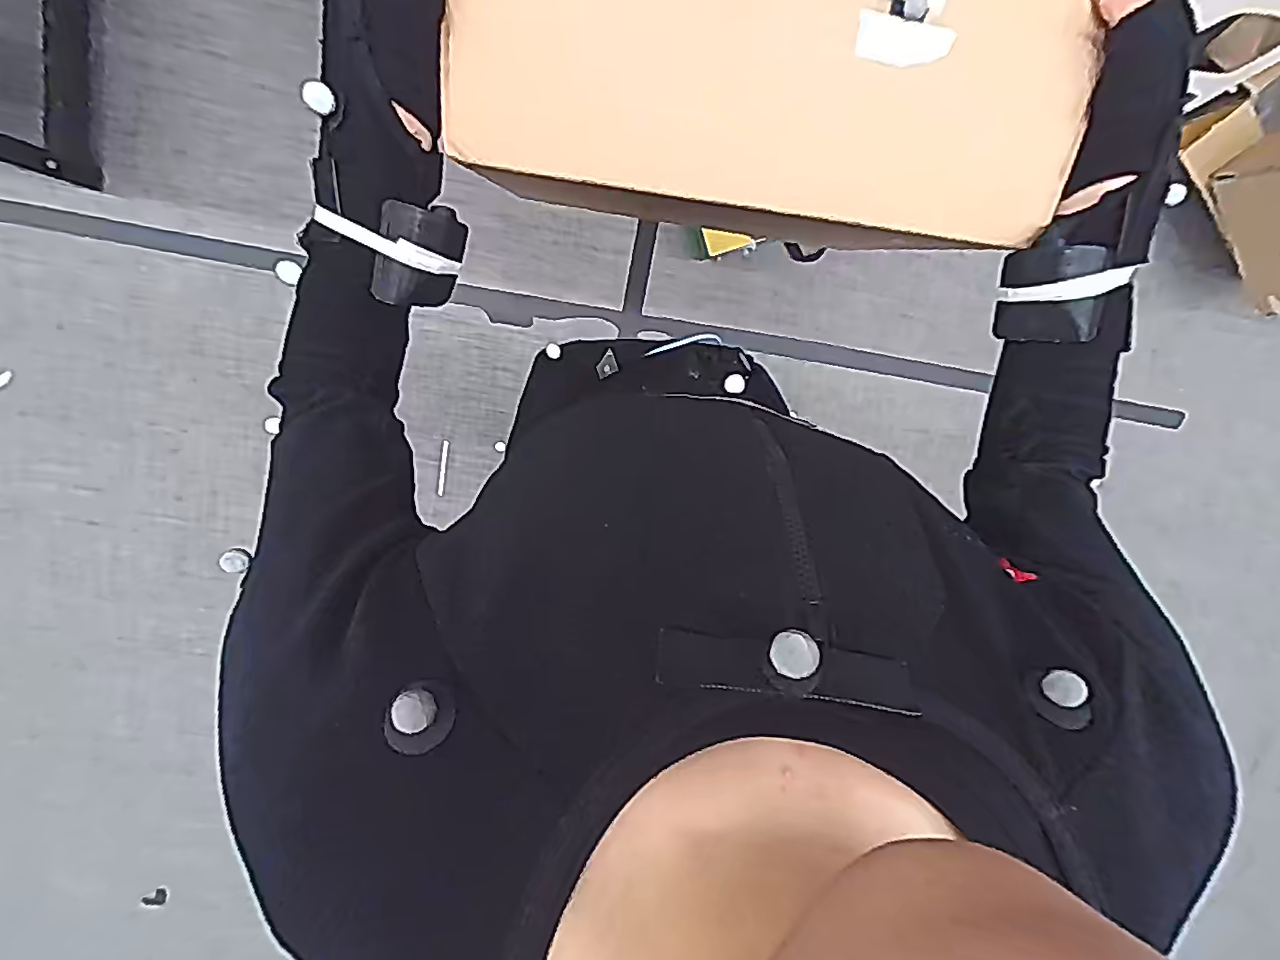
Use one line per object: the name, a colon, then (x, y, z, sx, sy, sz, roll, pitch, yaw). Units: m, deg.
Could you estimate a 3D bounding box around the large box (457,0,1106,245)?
large box: (0.084, -0.386, 0.449, 0.408, 0.320, 0.320, 6, 114, -7)
